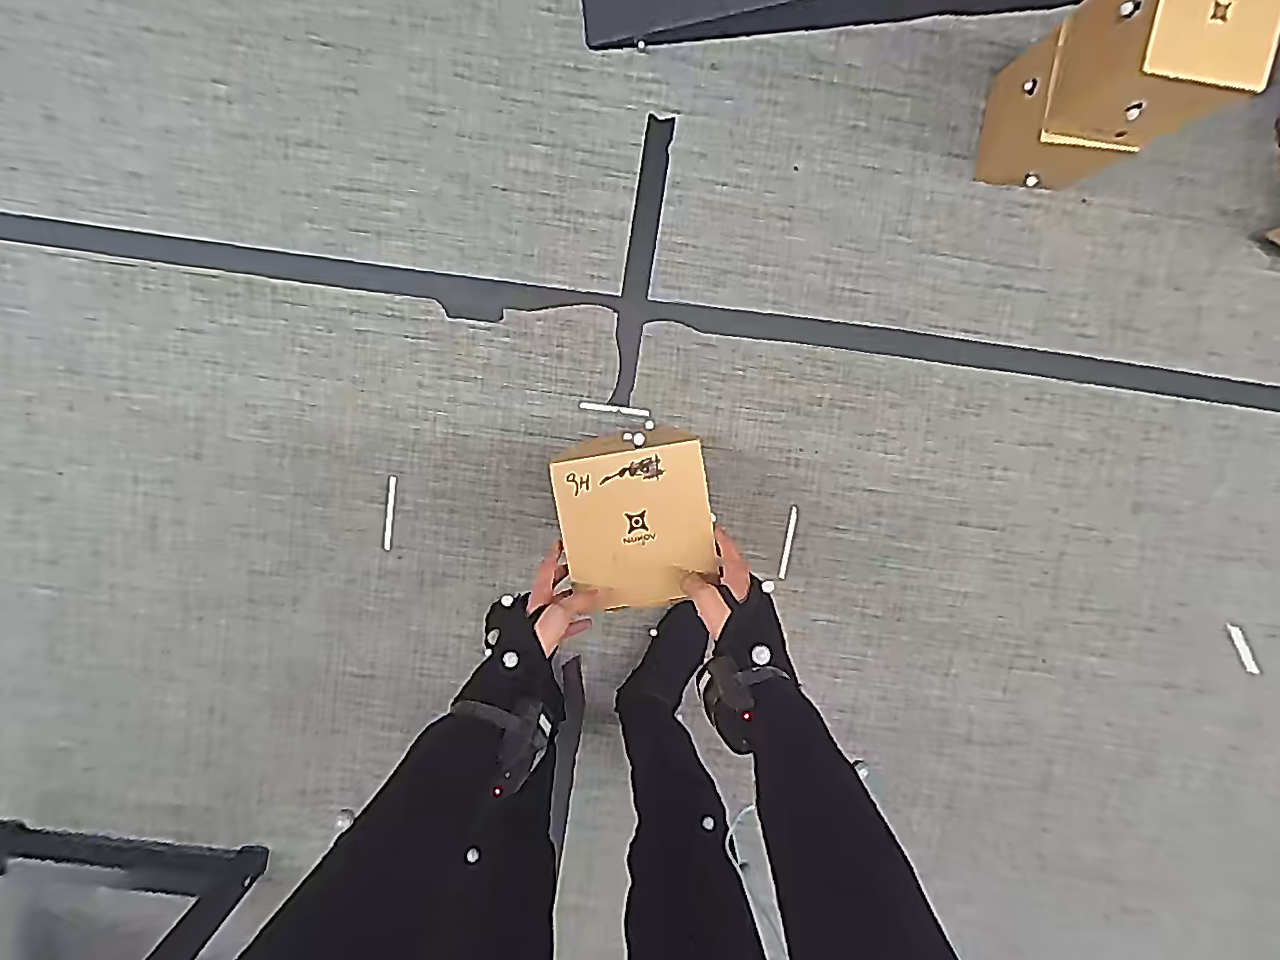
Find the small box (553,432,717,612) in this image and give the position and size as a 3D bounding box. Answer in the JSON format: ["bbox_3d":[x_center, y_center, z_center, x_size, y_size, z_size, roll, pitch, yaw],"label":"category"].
[{"bbox_3d":[-0.004,0.042,0.675,0.168,0.176,0.179,-9,99,0],"label":"small box"}]
